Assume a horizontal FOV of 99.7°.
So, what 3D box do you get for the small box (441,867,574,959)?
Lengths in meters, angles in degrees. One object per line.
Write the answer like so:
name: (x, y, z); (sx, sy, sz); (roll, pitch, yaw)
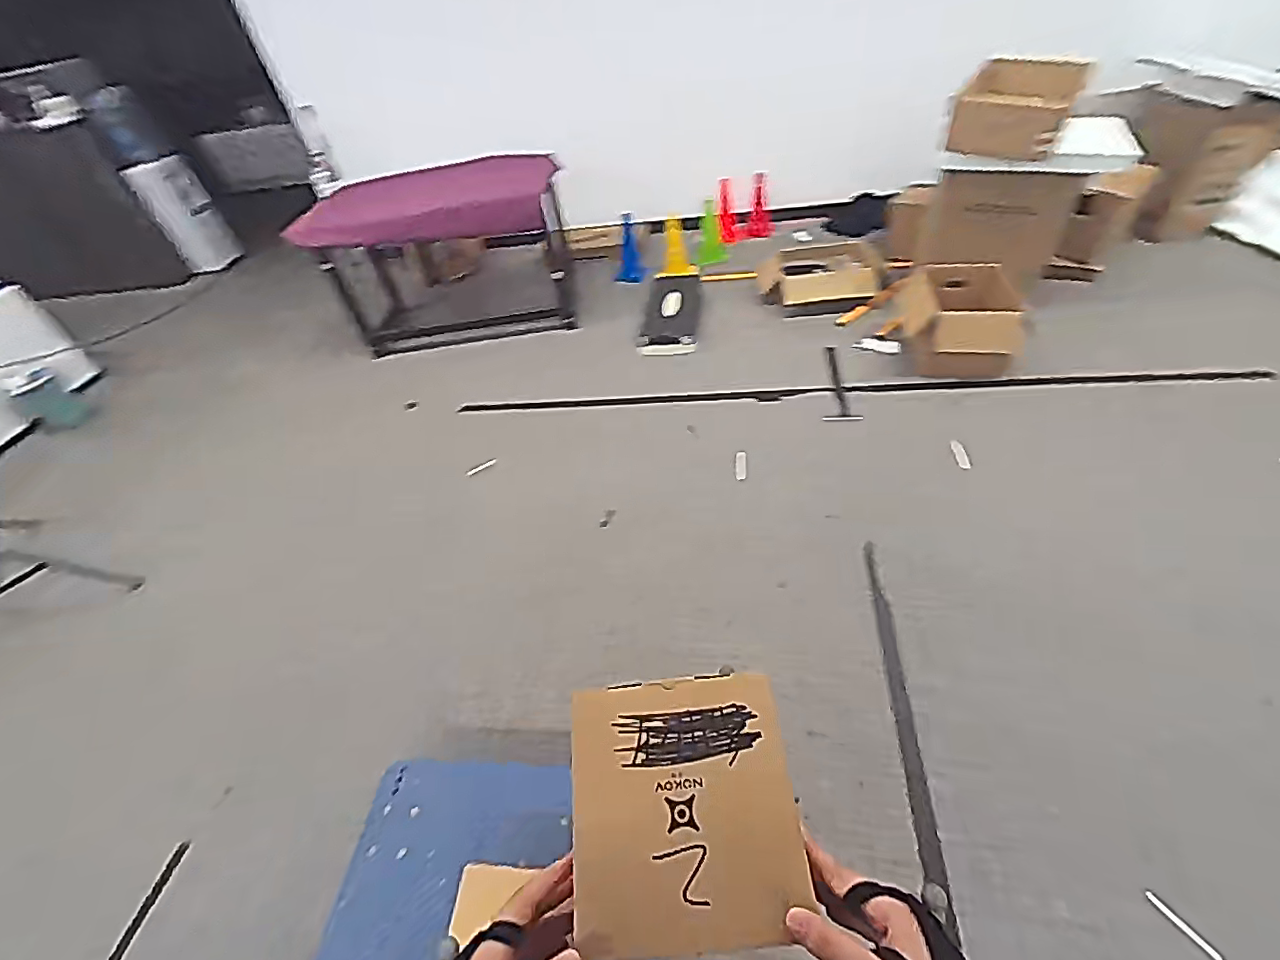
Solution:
small box: (-0.233, 0.825, 0.982); (0.179, 0.176, 0.168); (-2, 45, 8)
